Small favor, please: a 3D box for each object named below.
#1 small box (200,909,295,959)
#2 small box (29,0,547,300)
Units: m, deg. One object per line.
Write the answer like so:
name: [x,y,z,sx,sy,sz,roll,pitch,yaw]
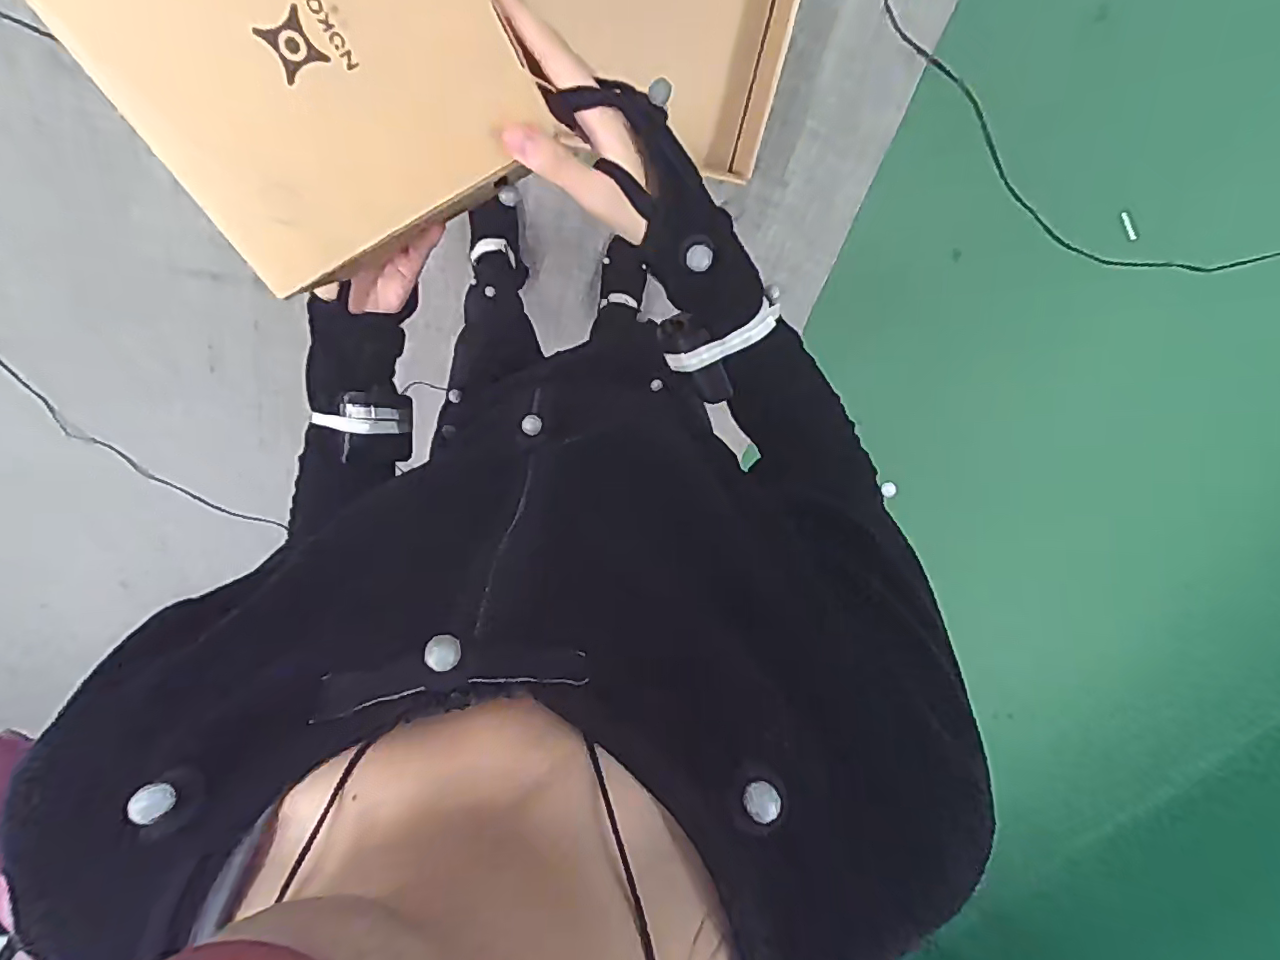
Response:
small box: [-1.061,1.292,1.458,0.168,0.176,0.179,6,121,-9]
small box: [-0.172,-0.232,0.325,0.179,0.176,0.168,-30,118,3]
